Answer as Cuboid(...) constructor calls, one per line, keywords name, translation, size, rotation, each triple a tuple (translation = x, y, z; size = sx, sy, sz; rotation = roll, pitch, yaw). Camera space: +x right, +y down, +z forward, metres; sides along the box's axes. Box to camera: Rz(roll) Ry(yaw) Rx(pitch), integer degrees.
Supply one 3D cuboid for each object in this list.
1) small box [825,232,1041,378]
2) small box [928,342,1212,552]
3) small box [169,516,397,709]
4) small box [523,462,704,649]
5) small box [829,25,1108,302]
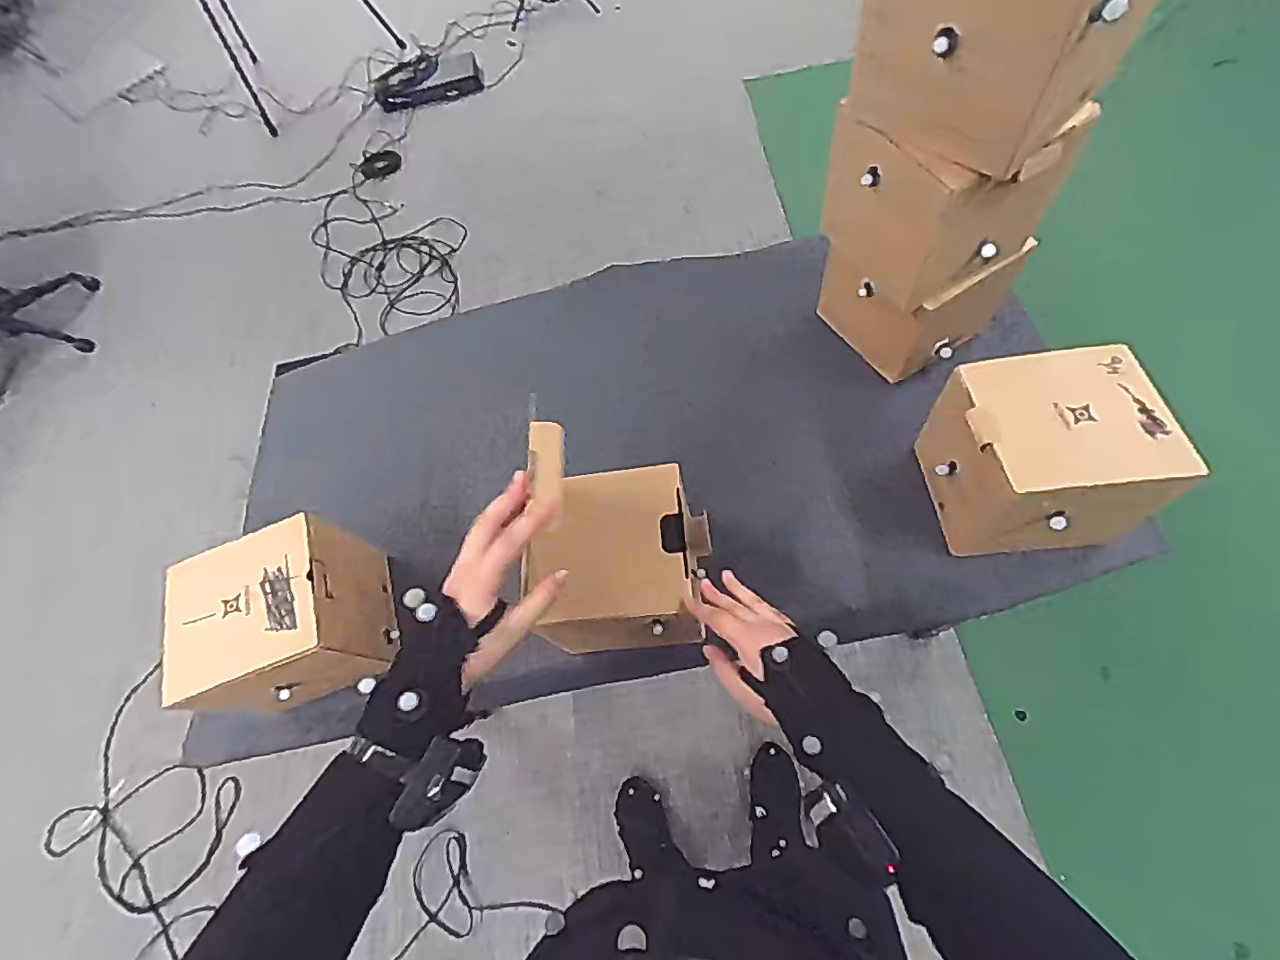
Cuboid(name="small box", translation=(0.378, -0.275, 0.741), size=(0.168, 0.176, 0.179), rotation=(-32, 66, -3))
Cuboid(name="small box", translation=(0.449, -0.027, 0.611), size=(0.179, 0.176, 0.168), rotation=(-7, 61, 7))
Cuboid(name="small box", translation=(-0.424, 0.169, 0.669), size=(0.179, 0.176, 0.168), rotation=(-22, 65, -1))
Cuboid(name="small box", translation=(-0.024, 0.099, 0.638), size=(0.179, 0.176, 0.168), rotation=(-7, 63, 6))
Cuboid(name="small box", translation=(0.331, -0.336, 0.595), size=(0.168, 0.176, 0.179), rotation=(-29, 65, -1))
